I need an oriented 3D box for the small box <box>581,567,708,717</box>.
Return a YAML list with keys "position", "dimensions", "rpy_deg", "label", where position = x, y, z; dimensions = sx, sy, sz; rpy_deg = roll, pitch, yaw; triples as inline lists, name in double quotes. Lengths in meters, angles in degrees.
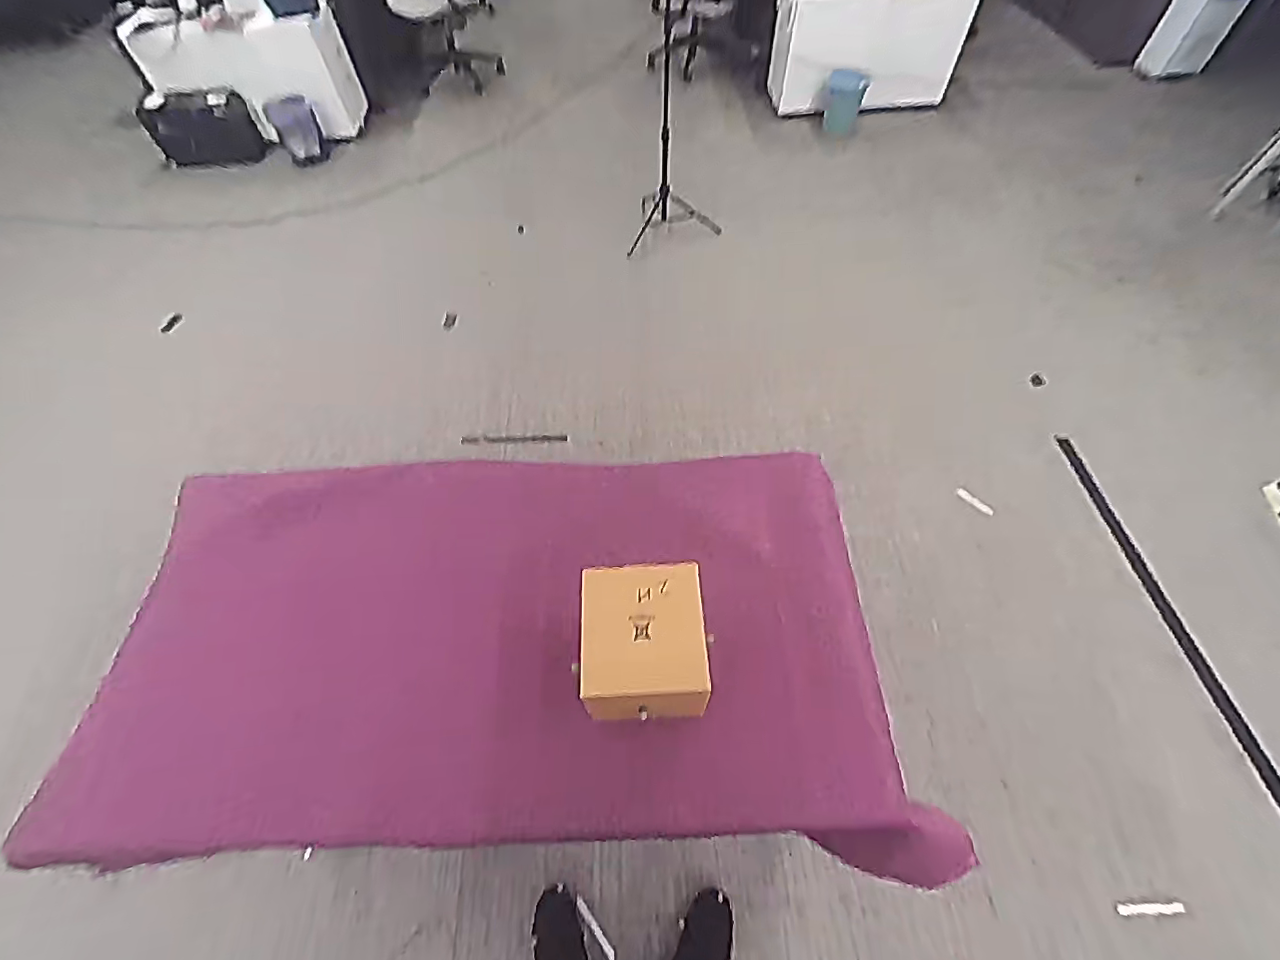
- position: [0.008, 0.244, 0.792]
  dimensions: [0.168, 0.176, 0.179]
  rpy_deg: [-2, 56, 0]
  label: "small box"
